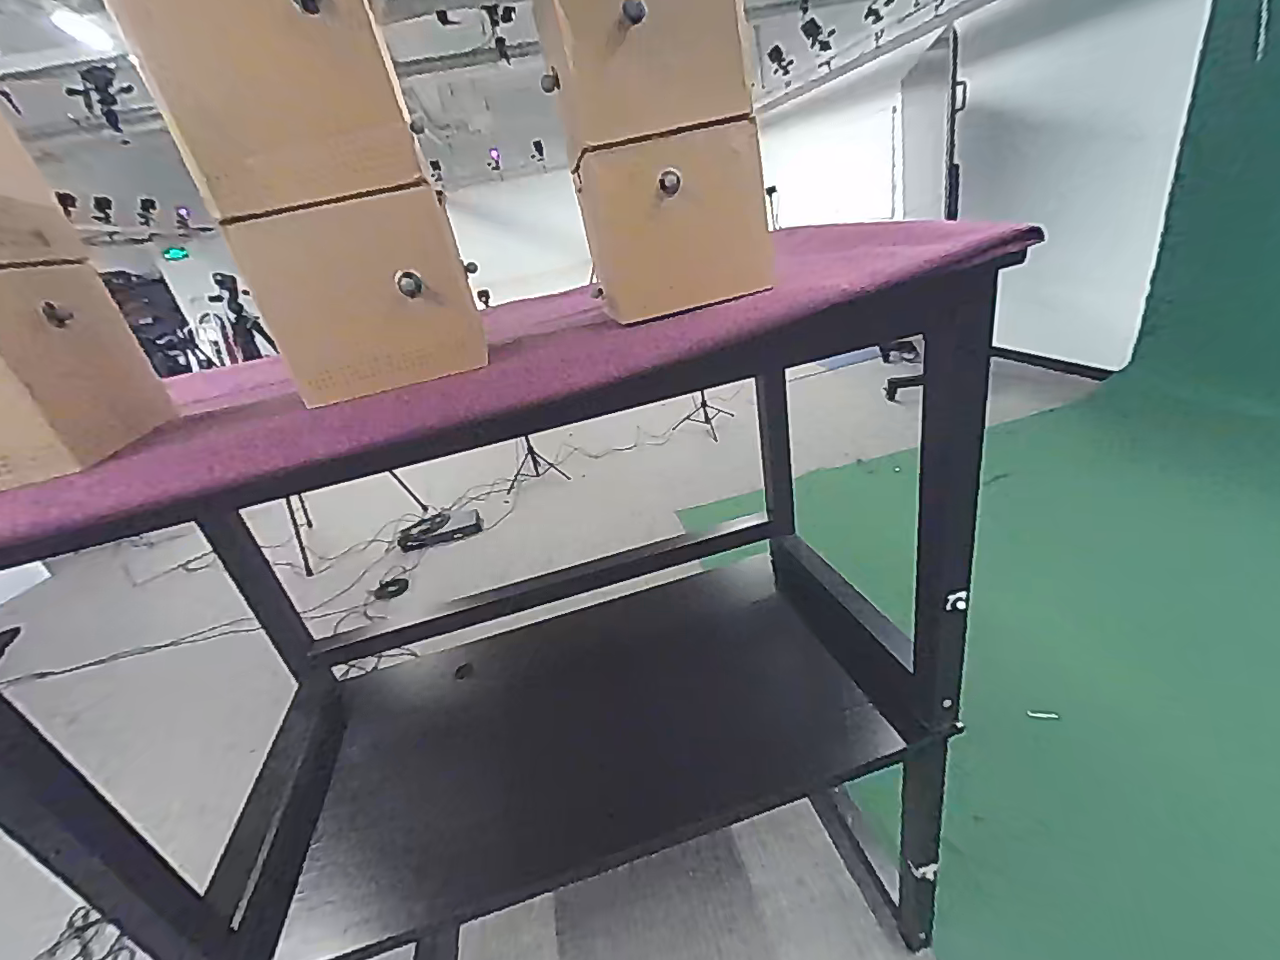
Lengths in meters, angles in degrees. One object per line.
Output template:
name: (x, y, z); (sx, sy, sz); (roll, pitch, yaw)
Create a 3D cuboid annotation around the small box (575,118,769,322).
small box: (0.034, -0.291, 0.632); (0.179, 0.176, 0.168); (-15, 24, -6)

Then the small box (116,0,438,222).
small box: (-0.304, -0.336, 0.498); (0.179, 0.176, 0.168); (-17, 25, -10)

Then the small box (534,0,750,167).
small box: (-0.002, -0.437, 0.567); (0.179, 0.176, 0.168); (-16, 24, -5)

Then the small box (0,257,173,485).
small box: (-0.587, -0.095, 0.493); (0.168, 0.176, 0.179); (-15, 26, -10)

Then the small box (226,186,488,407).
small box: (-0.267, -0.193, 0.567); (0.179, 0.176, 0.168); (-17, 25, -8)
